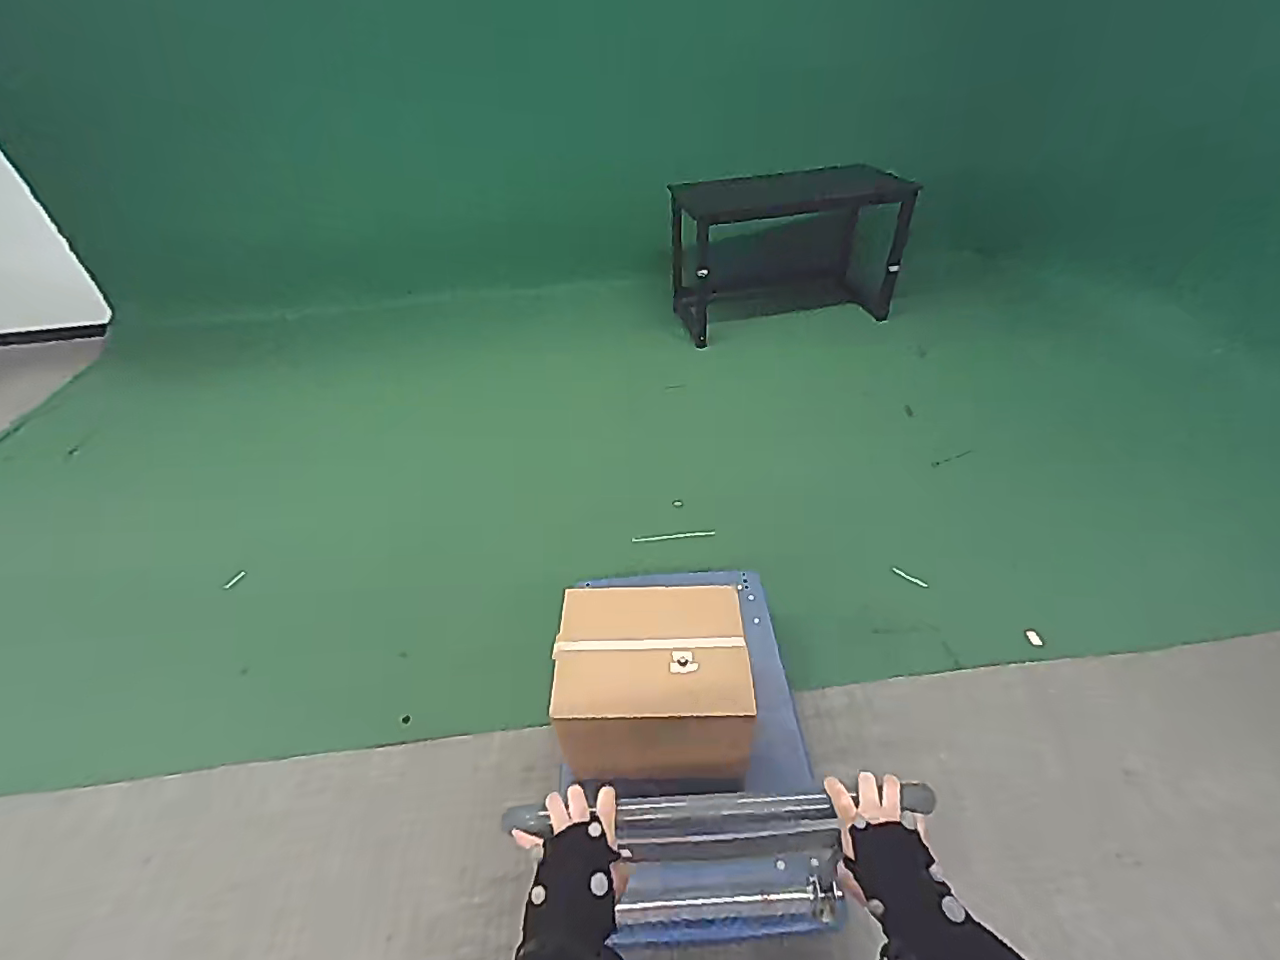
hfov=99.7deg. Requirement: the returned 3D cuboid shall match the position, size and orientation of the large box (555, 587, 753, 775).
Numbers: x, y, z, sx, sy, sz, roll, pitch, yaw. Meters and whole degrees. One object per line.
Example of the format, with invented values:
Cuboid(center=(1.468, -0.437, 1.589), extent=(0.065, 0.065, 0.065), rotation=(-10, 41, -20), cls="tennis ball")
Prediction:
Cuboid(center=(0.030, 0.474, 1.278), extent=(0.408, 0.320, 0.320), rotation=(-1, 41, 1), cls="large box")
